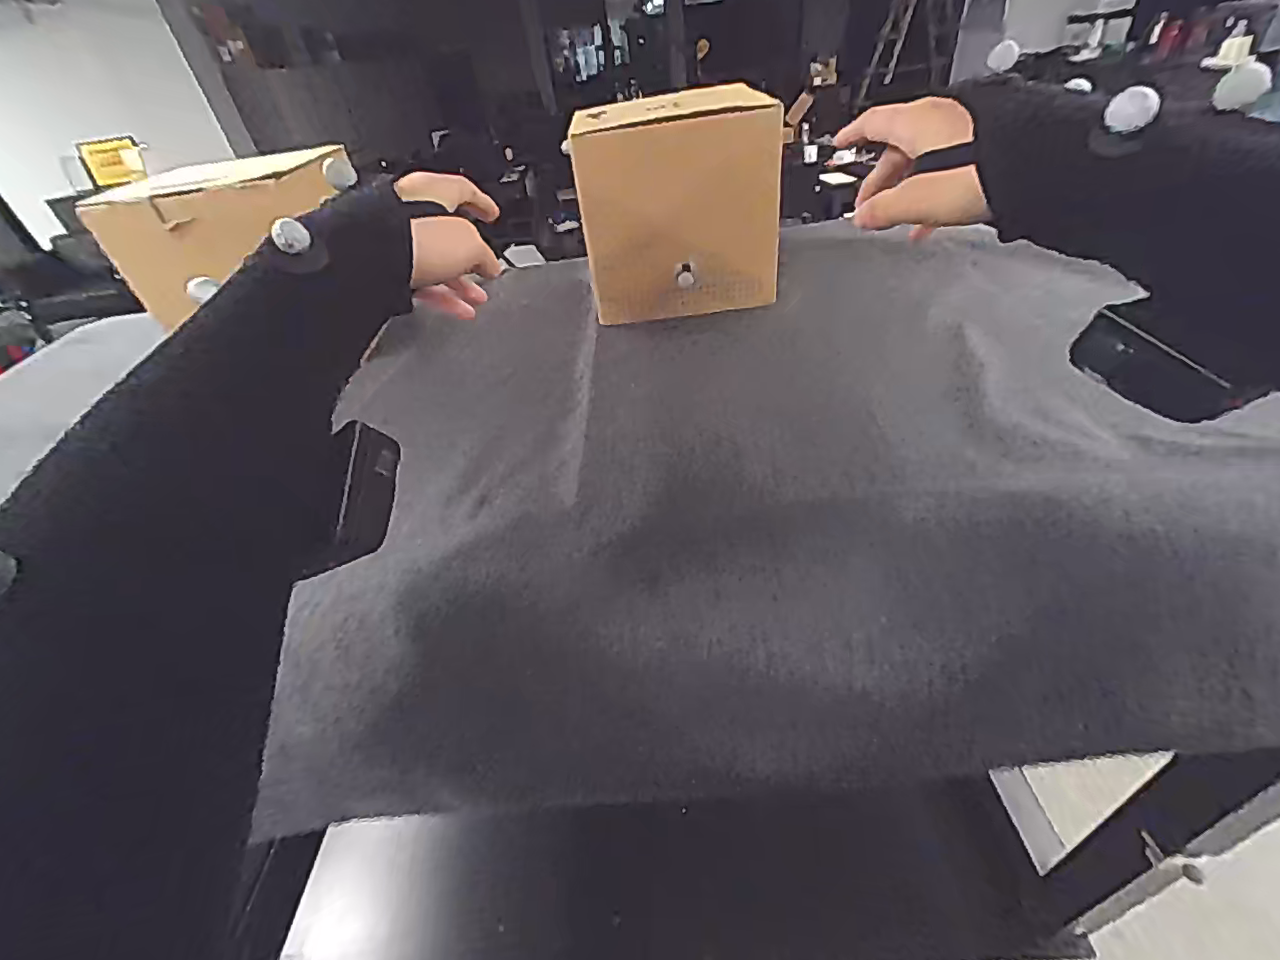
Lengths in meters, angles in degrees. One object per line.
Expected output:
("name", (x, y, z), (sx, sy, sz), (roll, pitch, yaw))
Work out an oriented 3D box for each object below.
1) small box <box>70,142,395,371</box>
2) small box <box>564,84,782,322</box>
("small box", (-0.374, -0.220, 0.545), (0.168, 0.176, 0.179), (-9, 39, 0))
("small box", (0.030, -0.273, 0.536), (0.179, 0.176, 0.168), (-6, 39, 2))
